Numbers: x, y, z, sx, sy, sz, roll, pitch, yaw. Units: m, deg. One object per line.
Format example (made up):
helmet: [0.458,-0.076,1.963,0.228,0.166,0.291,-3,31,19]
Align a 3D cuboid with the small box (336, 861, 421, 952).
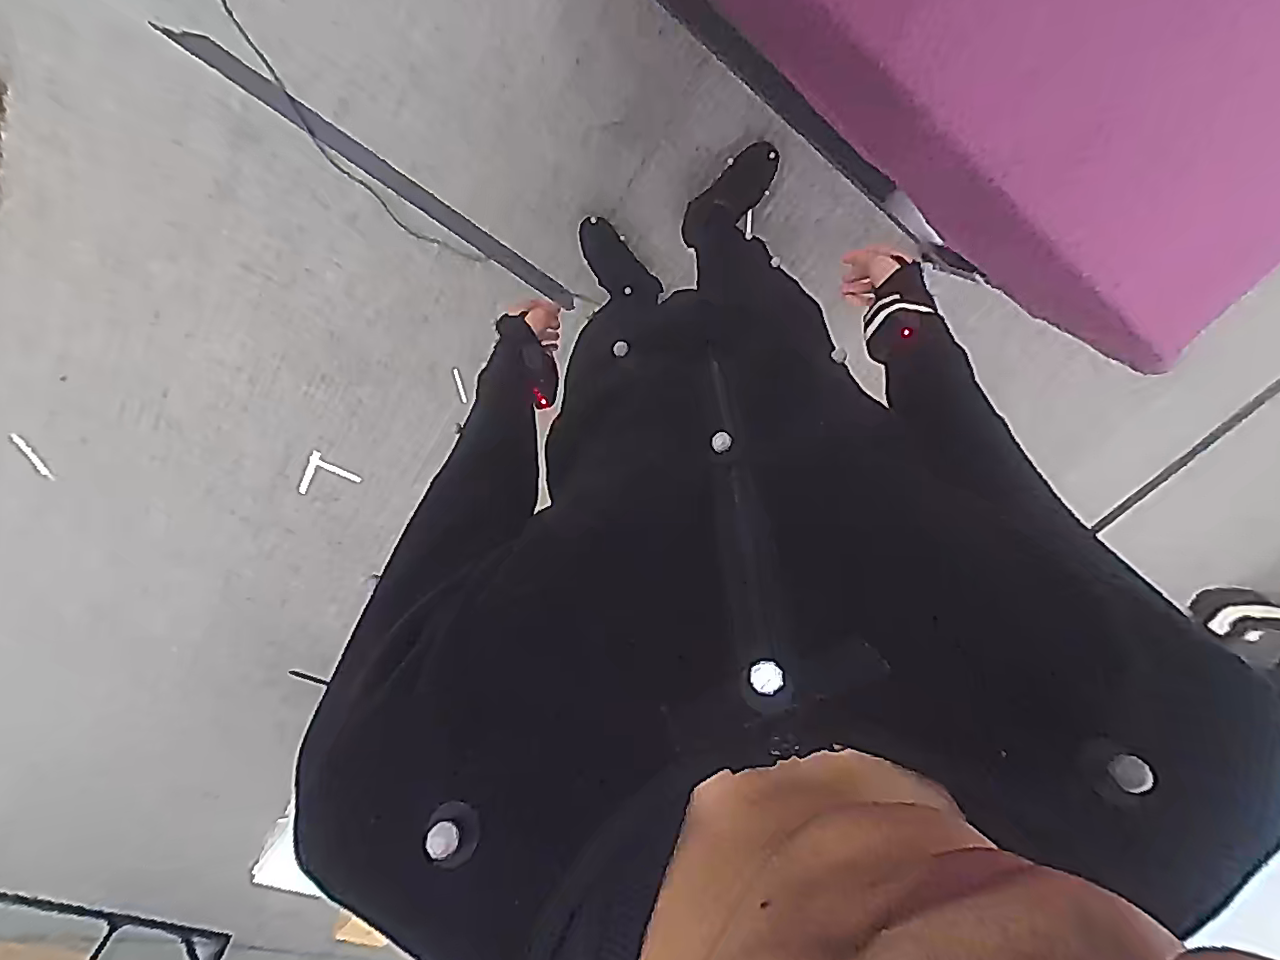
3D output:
small box: [-0.831,1.367,1.736,0.168,0.176,0.179,32,114,-21]
